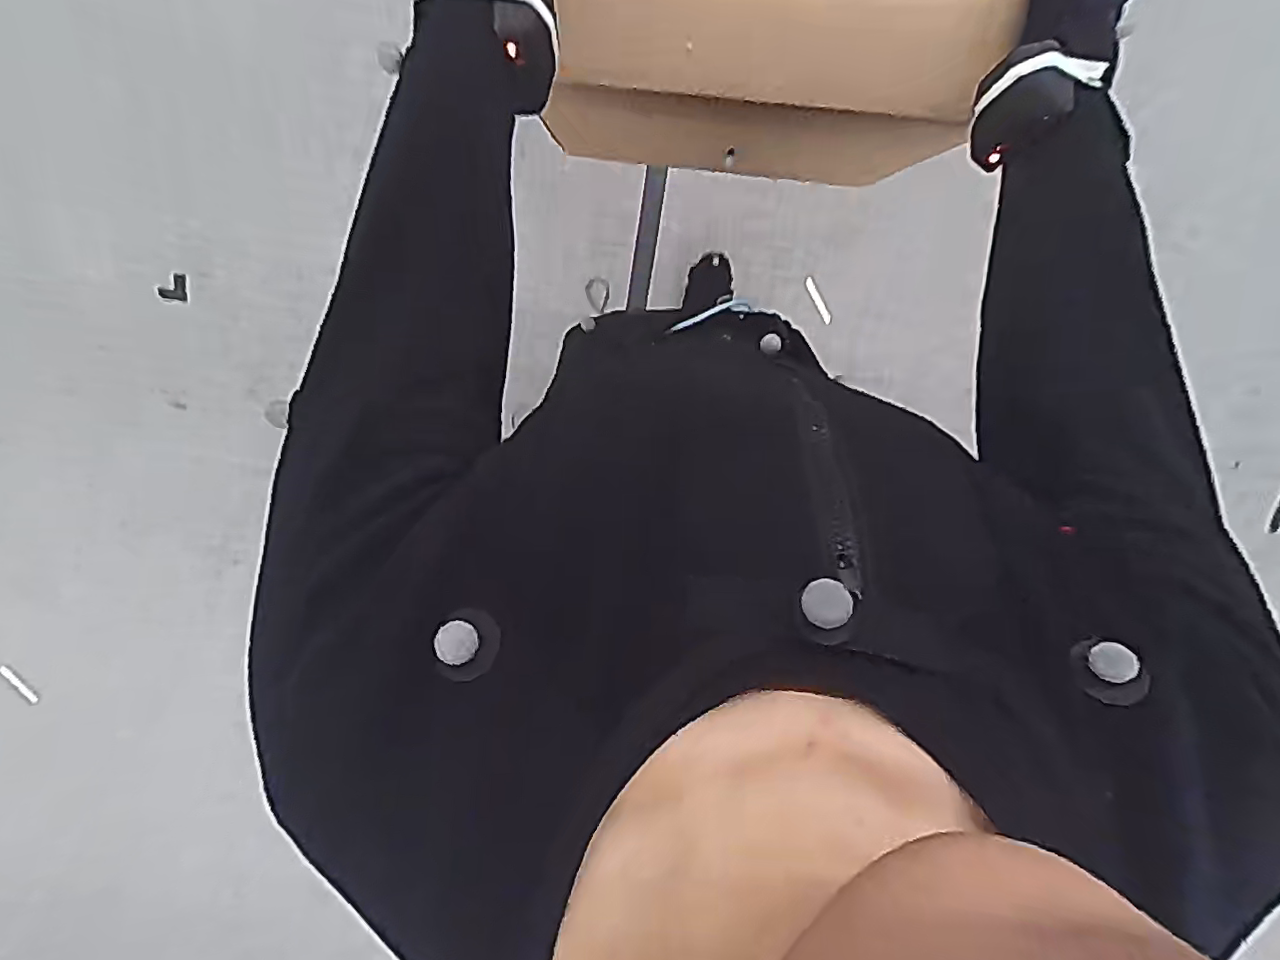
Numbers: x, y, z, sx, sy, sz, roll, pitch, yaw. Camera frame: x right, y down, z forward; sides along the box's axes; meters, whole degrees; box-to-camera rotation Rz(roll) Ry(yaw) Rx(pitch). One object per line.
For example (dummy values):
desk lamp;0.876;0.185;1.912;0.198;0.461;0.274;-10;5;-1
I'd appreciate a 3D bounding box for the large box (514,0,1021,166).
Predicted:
large box;0.114;-0.522;0.530;0.408;0.320;0.320;6;110;0
